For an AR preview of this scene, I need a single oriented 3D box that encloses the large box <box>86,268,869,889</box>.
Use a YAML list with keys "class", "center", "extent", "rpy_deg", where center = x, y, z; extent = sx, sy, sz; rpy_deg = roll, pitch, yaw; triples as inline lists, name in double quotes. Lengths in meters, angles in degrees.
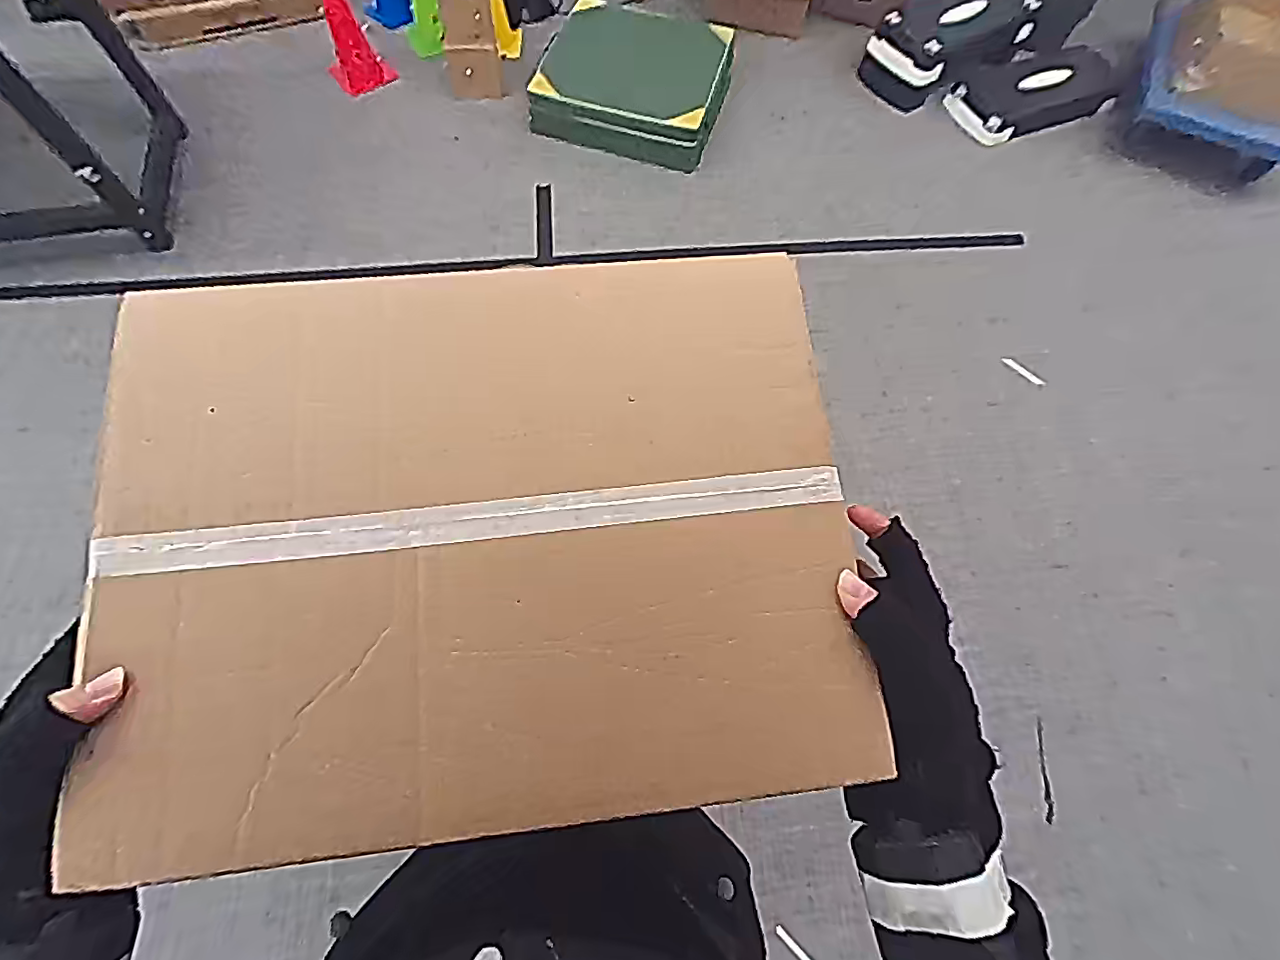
- class: "large box"
  center: [-0.095, 0.062, 0.452]
  extent: [0.408, 0.320, 0.320]
  rpy_deg: [-6, 76, -4]
